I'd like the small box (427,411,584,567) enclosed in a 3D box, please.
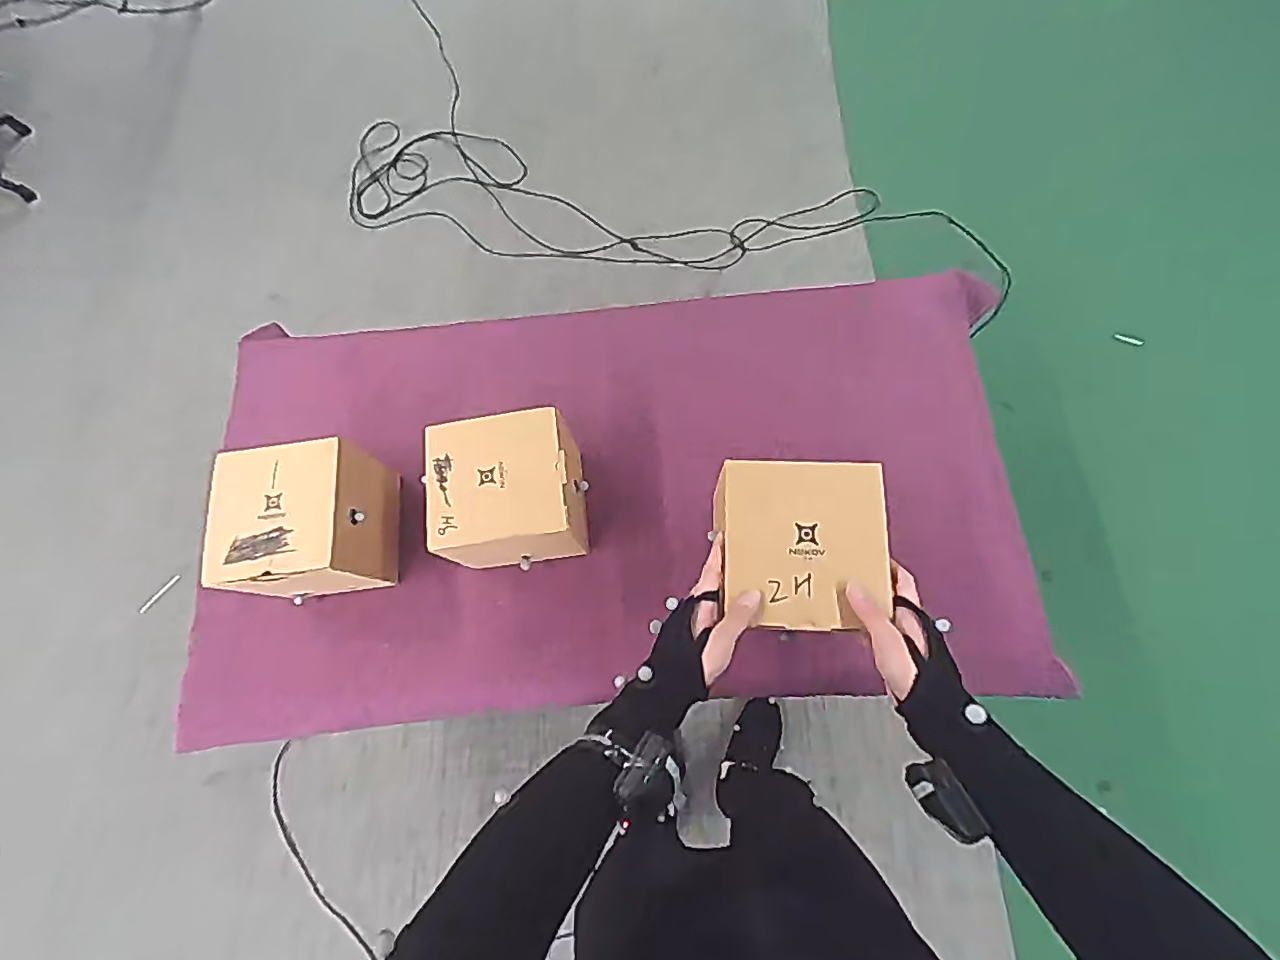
[{"bbox_3d":[-0.175,0.021,0.748,0.179,0.176,0.168,-8,72,1],"label":"small box"}]

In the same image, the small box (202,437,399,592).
[{"bbox_3d":[-0.455,0.059,0.755,0.168,0.176,0.179,-7,72,1],"label":"small box"}]

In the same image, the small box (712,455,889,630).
[{"bbox_3d":[0.172,0.080,0.633,0.168,0.176,0.179,2,76,5],"label":"small box"}]
